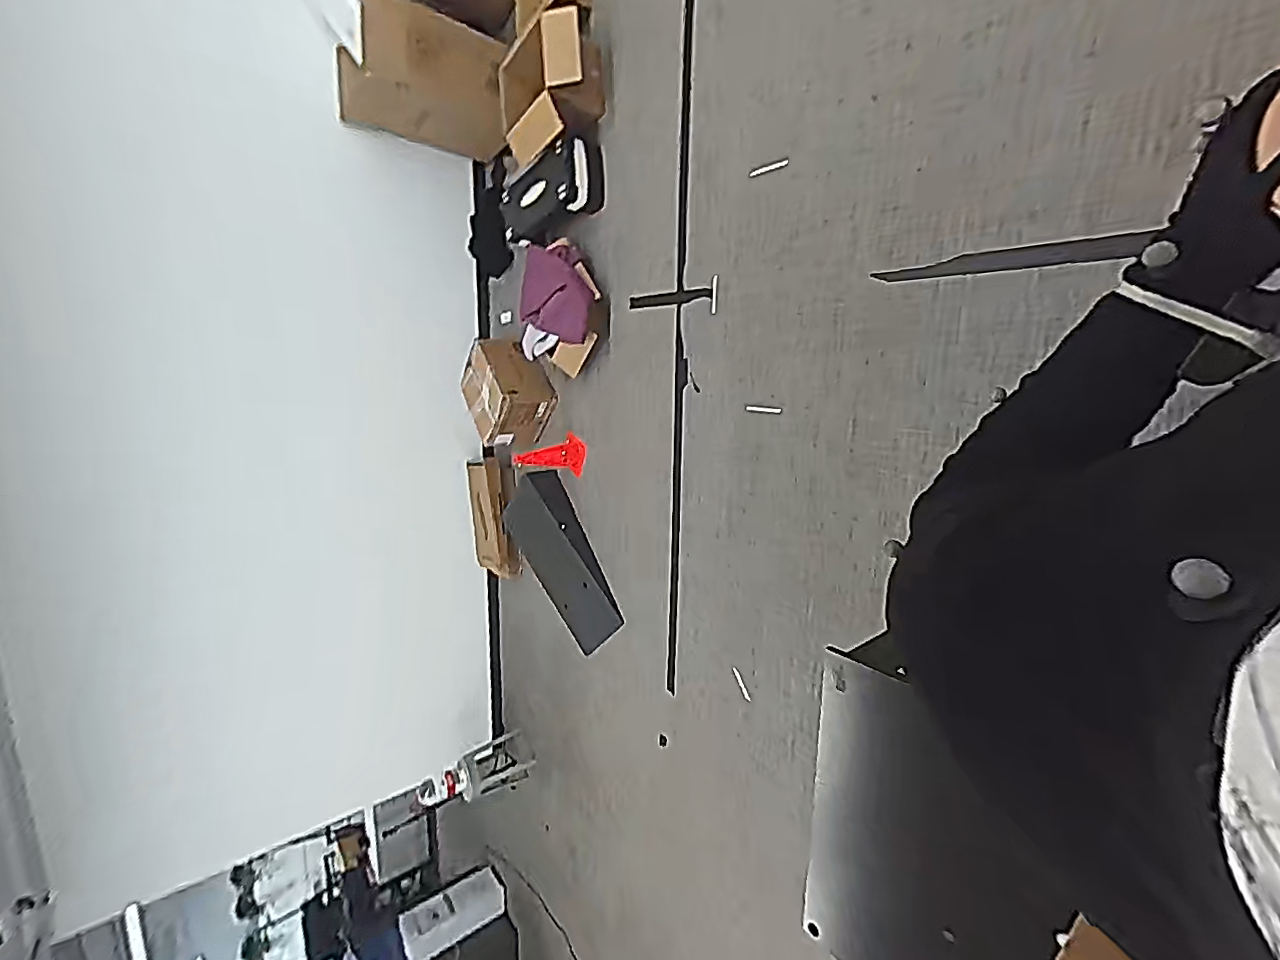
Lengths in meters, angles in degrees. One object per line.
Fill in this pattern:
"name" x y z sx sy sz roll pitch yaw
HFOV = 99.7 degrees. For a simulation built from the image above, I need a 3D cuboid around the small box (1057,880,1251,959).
"small box" 0.563 0.590 0.578 0.179 0.176 0.168 17 109 51
